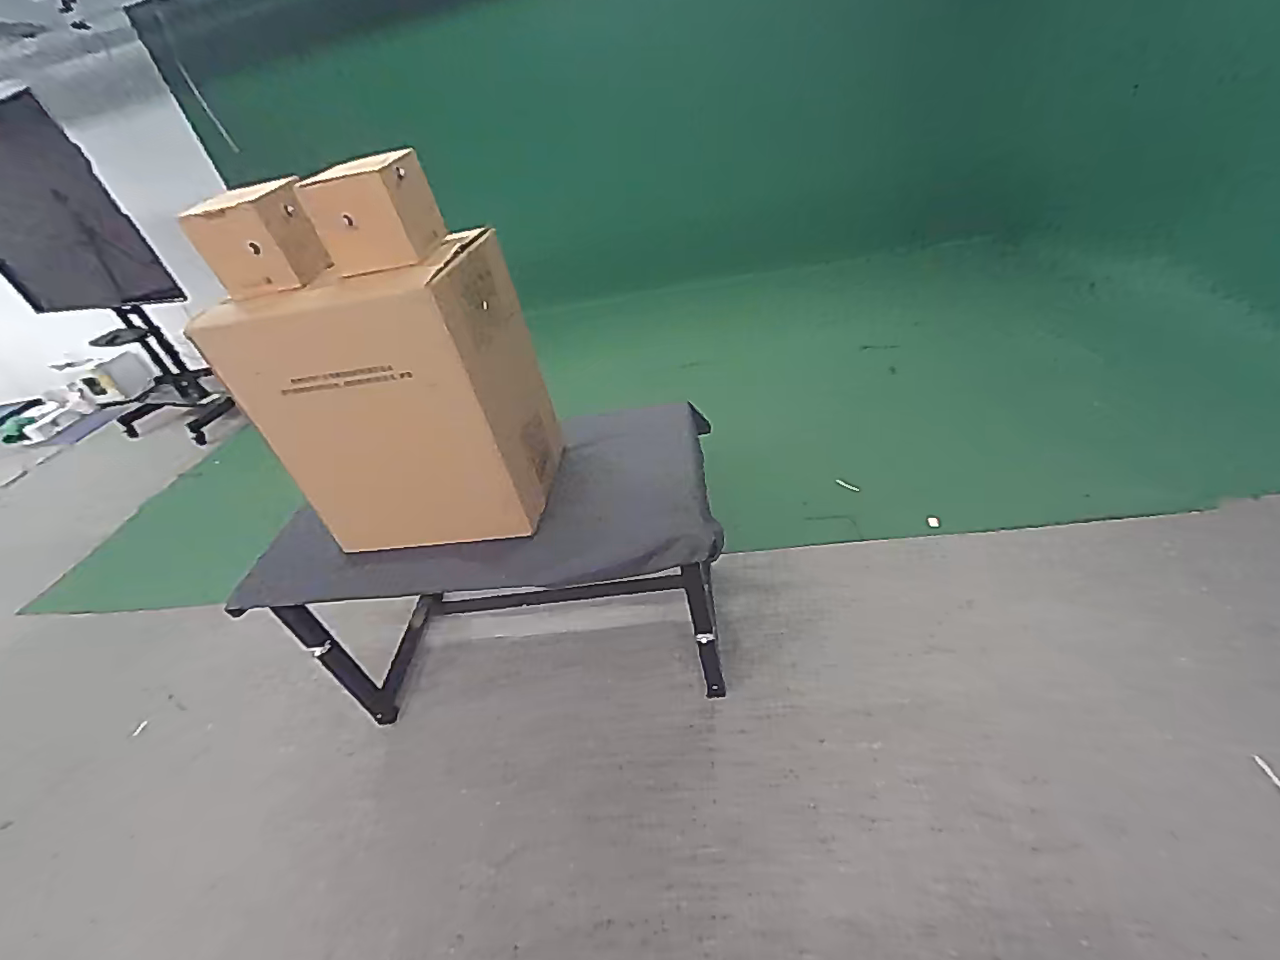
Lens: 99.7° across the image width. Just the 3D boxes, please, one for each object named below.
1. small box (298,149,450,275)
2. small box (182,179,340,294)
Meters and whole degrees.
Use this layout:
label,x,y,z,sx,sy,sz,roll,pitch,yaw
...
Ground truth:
label,x,y,z,sx,sy,sz,roll,pitch,yaw
small box,-0.511,-0.523,1.066,0.179,0.176,0.168,-6,42,12
small box,-0.762,-0.494,1.112,0.168,0.176,0.179,-5,41,9
